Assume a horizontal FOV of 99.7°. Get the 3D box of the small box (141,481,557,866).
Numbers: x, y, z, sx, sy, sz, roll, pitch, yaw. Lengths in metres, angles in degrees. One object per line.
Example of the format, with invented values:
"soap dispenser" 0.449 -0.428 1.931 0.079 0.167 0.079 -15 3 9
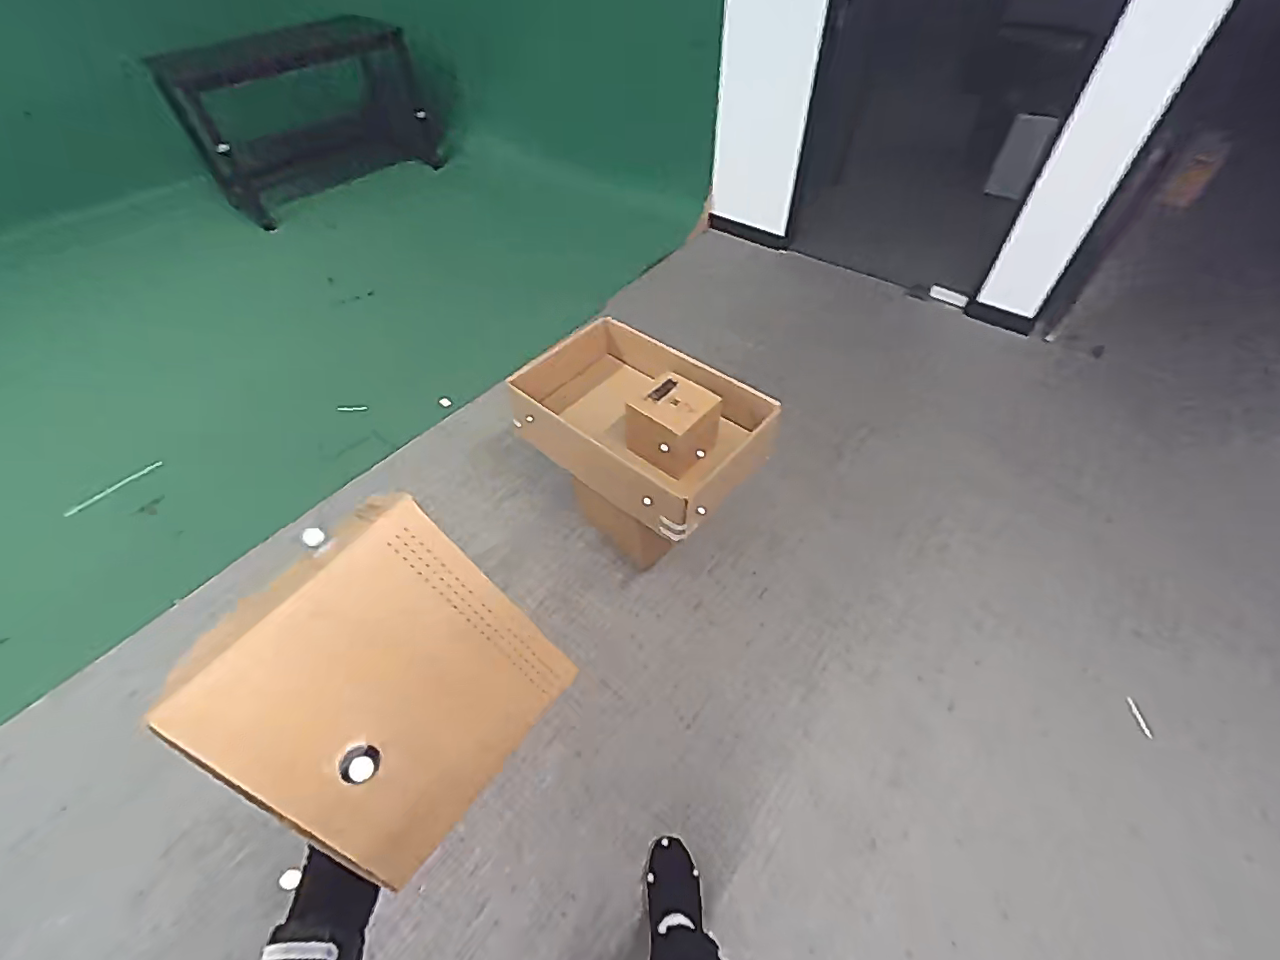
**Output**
"small box" -0.193 0.120 0.397 0.176 0.179 0.168 -48 24 -27
